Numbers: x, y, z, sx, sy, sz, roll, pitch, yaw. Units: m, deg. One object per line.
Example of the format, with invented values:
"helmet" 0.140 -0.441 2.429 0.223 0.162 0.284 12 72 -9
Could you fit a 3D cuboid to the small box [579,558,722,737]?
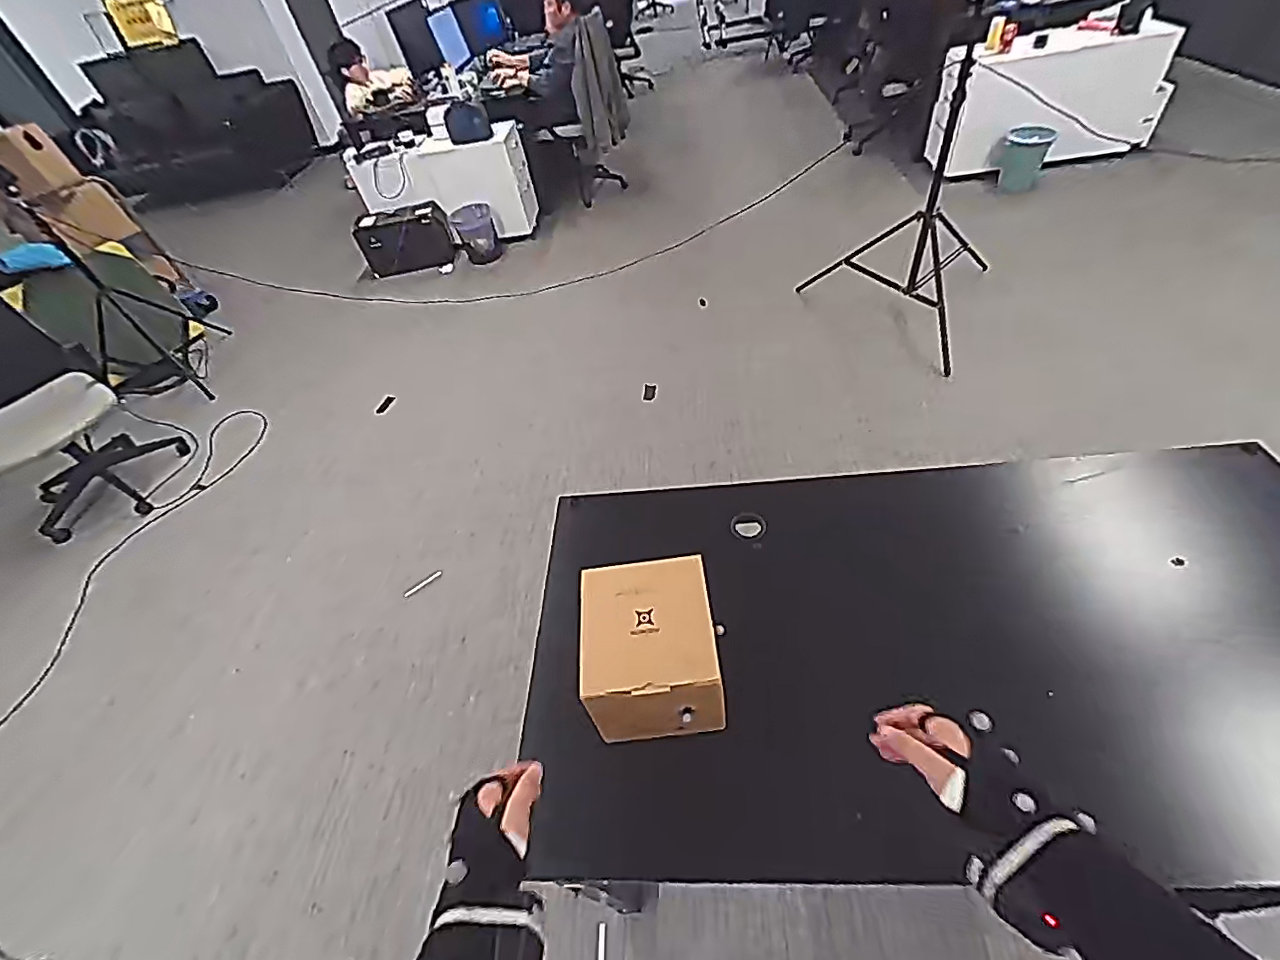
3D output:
"small box" 0.016 0.232 0.730 0.168 0.176 0.179 -8 46 3
